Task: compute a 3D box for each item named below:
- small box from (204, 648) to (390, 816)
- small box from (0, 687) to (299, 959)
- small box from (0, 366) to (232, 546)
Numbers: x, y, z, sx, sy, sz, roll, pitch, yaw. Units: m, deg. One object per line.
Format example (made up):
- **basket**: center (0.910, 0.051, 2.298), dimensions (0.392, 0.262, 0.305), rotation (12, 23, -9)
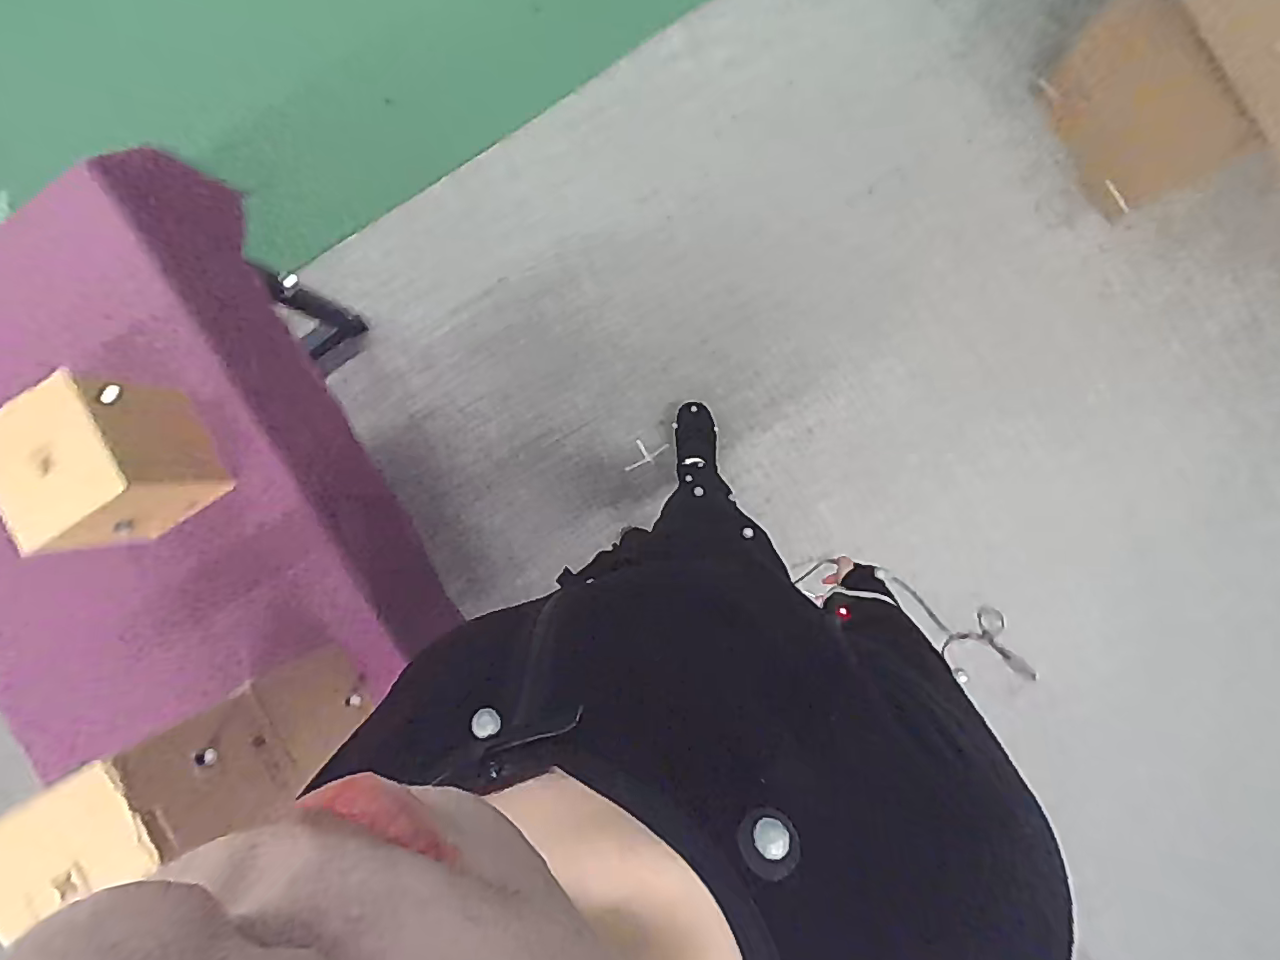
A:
- **small box**: center (-0.484, 0.349, 0.732), dimensions (0.168, 0.176, 0.179), rotation (-32, 87, 5)
- **small box**: center (-0.504, 0.351, 0.569), dimensions (0.179, 0.176, 0.168), rotation (-30, 87, 5)
- **small box**: center (-0.729, -0.031, 0.753), dimensions (0.168, 0.176, 0.179), rotation (-31, 87, 5)
